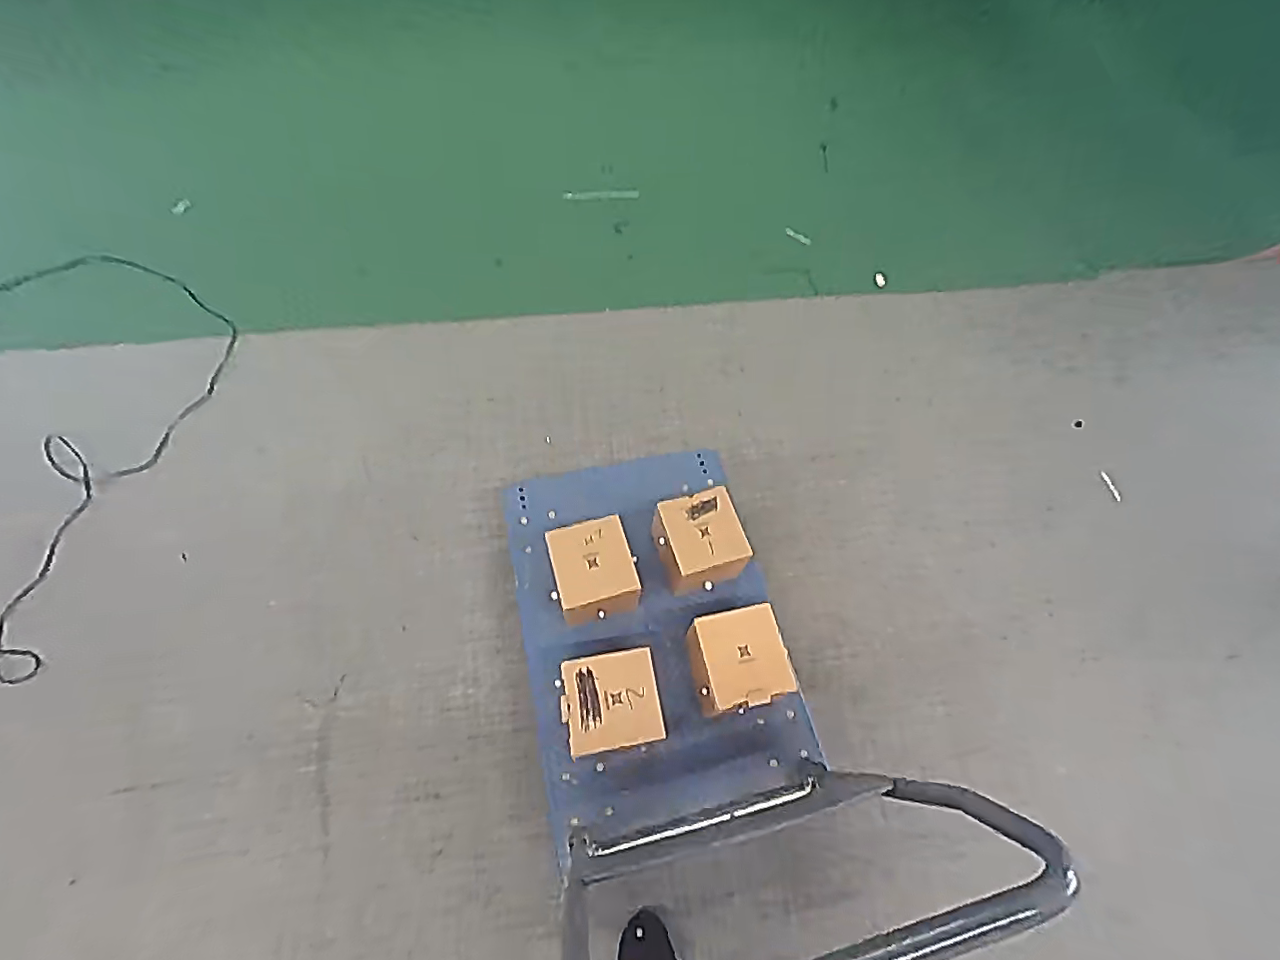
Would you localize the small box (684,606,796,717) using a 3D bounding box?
[{"bbox_3d":[0.198,0.382,1.131,0.168,0.176,0.179,-9,64,-9],"label":"small box"}]

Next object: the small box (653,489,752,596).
[{"bbox_3d":[0.135,0.147,1.249,0.168,0.176,0.179,-14,65,-10],"label":"small box"}]

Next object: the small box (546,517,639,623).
[{"bbox_3d":[-0.106,0.208,1.201,0.168,0.176,0.179,-13,64,-11],"label":"small box"}]
